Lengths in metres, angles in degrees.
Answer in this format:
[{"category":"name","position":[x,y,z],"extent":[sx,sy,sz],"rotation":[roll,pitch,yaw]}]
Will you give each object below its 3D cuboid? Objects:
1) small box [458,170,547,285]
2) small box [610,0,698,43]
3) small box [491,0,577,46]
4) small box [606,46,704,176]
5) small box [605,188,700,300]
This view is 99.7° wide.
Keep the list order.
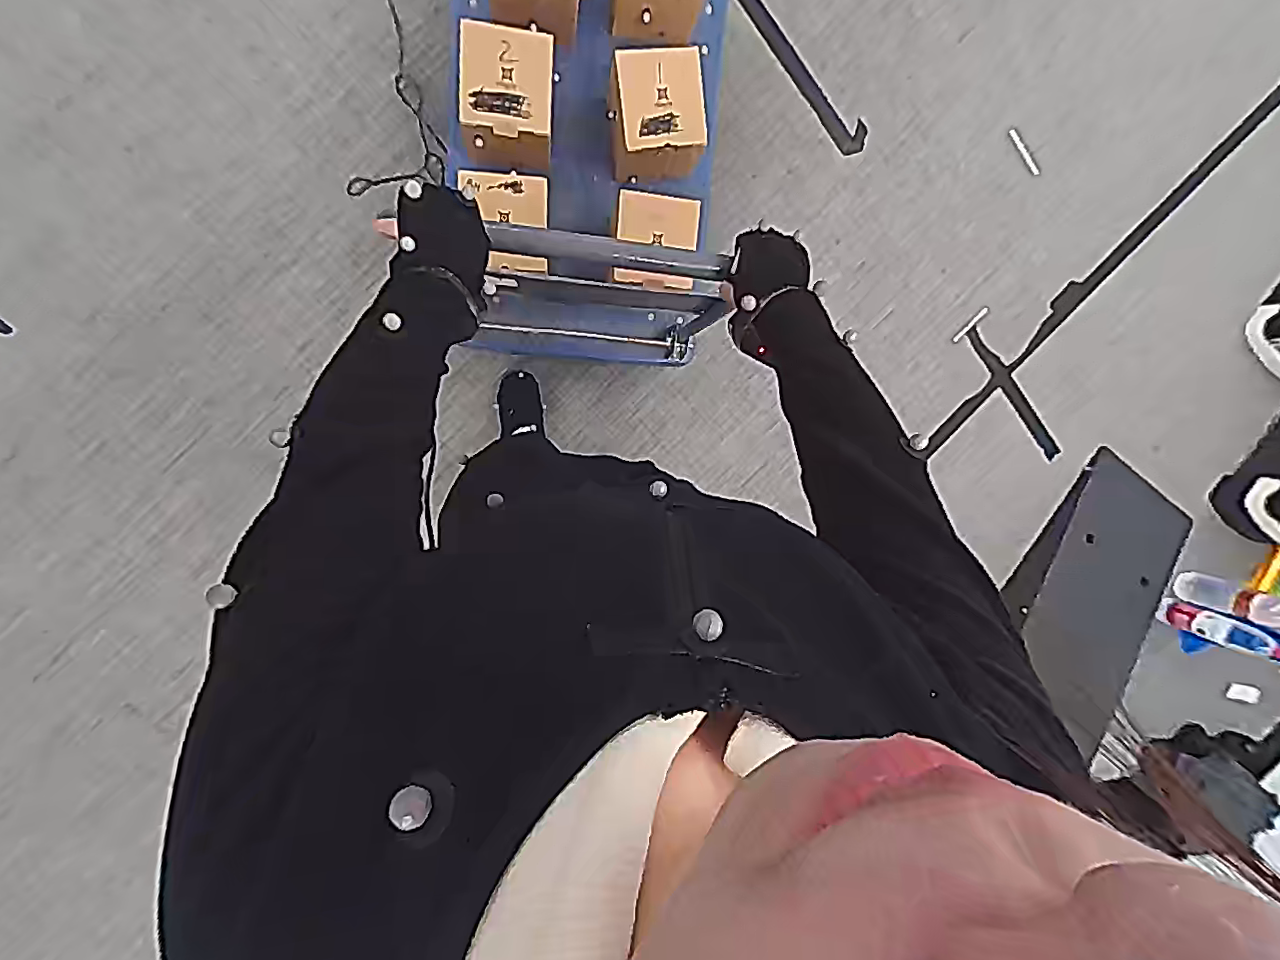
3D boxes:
[{"category":"small box","position":[-0.274,-0.504,1.106],"extent":[0.168,0.176,0.179],"rotation":[-1,100,-11]},{"category":"small box","position":[0.031,-1.018,1.074],"extent":[0.168,0.176,0.179],"rotation":[0,99,-10]},{"category":"small box","position":[-0.199,-0.993,1.036],"extent":[0.168,0.176,0.179],"rotation":[5,99,-10]},{"category":"small box","position":[0.026,-0.749,1.118],"extent":[0.168,0.176,0.179],"rotation":[-9,100,-8]},{"category":"small box","position":[0.019,-0.495,1.161],"extent":[0.168,0.176,0.179],"rotation":[4,98,-11]}]
